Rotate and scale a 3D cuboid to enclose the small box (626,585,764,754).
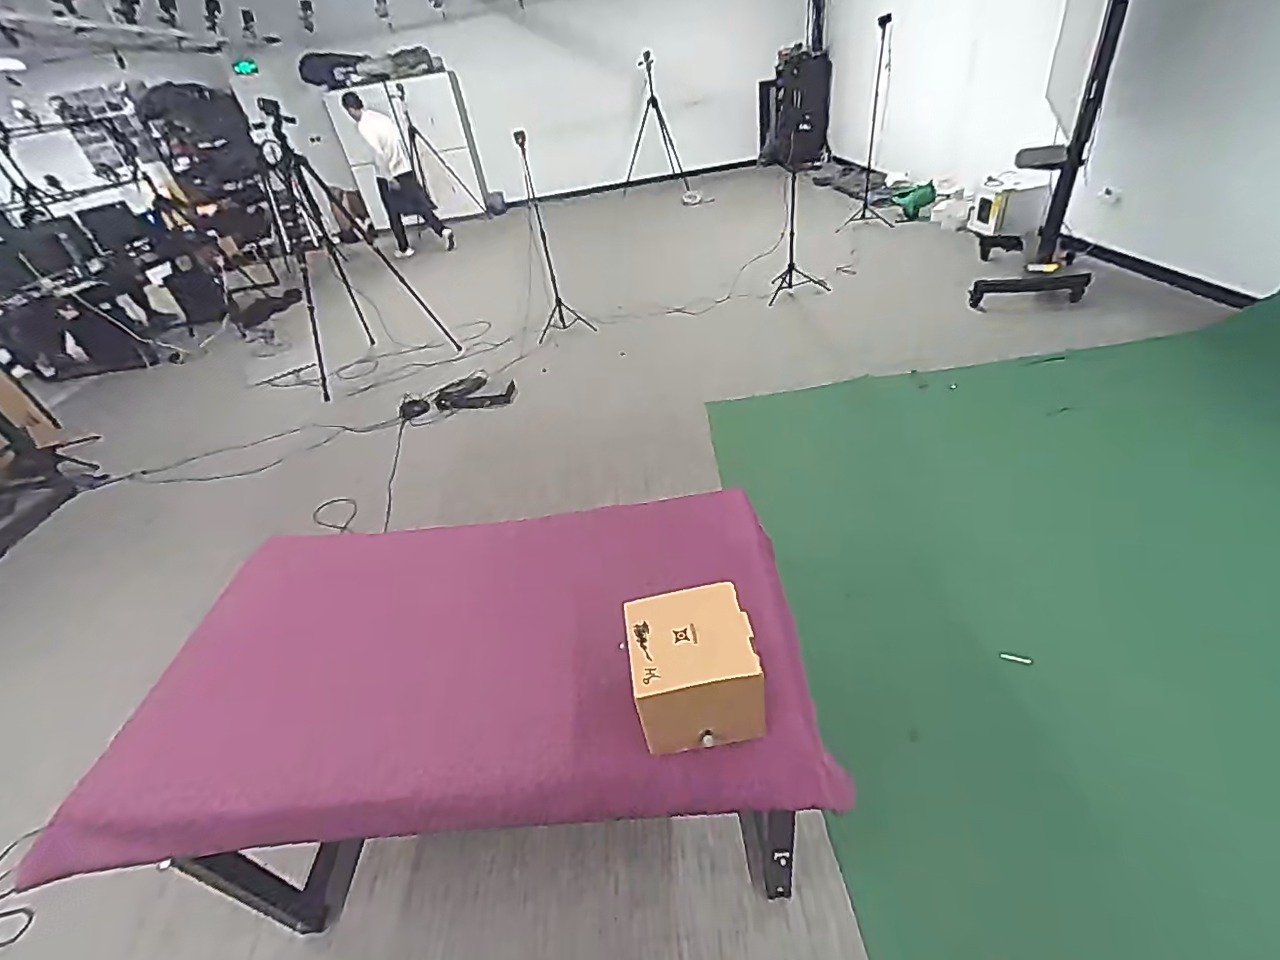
[{"bbox_3d":[0.082,0.288,0.821,0.179,0.176,0.168,-11,37,1],"label":"small box"}]
